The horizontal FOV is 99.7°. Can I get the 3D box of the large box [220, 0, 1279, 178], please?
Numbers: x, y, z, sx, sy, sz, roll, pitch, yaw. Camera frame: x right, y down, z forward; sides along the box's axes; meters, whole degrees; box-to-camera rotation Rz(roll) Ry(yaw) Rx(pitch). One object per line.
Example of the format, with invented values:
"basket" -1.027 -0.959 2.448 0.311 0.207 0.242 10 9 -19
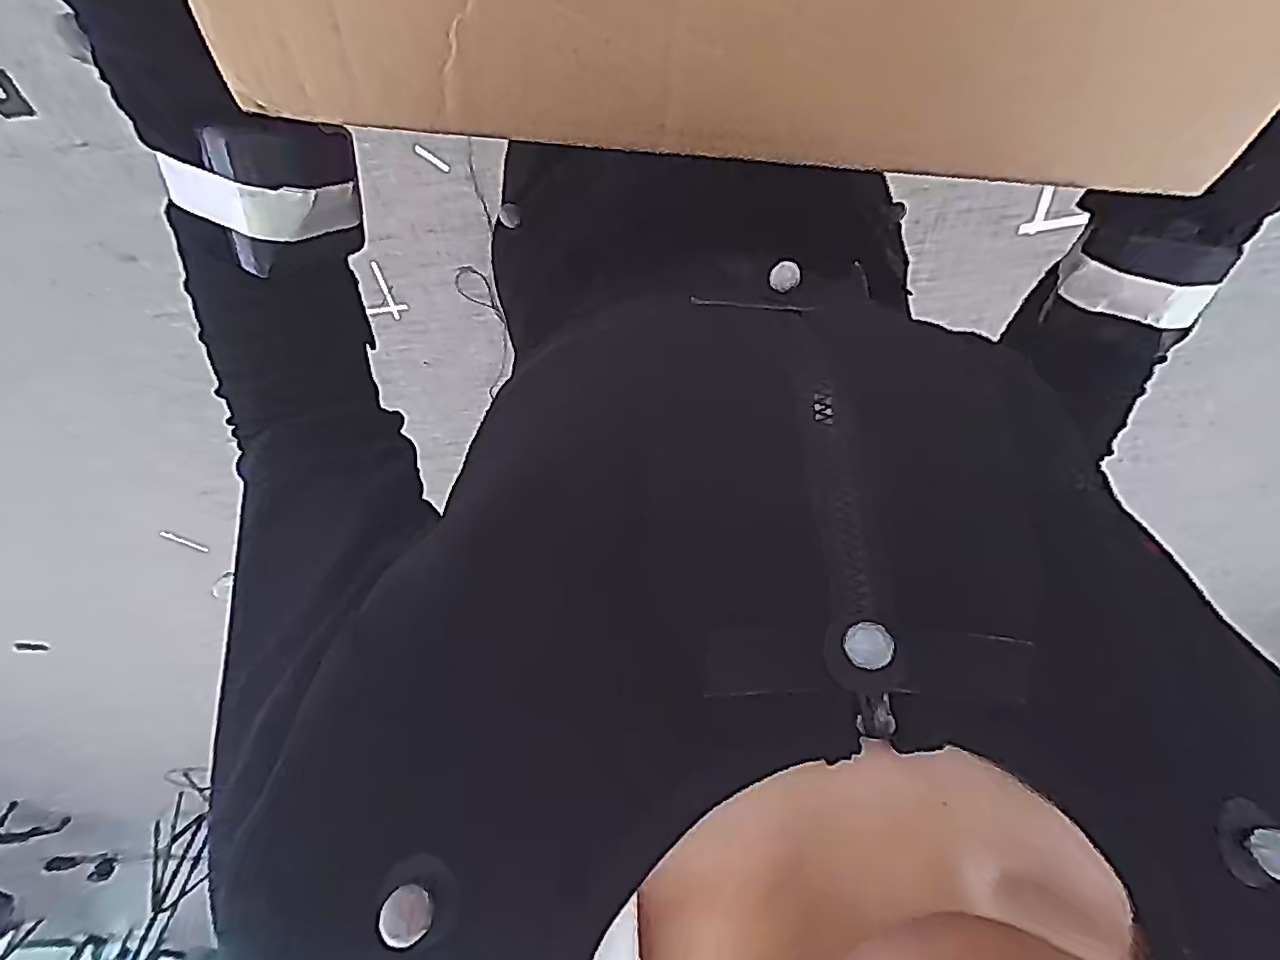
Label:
"large box" 0.054 -0.355 0.203 0.408 0.320 0.320 2 142 -4
